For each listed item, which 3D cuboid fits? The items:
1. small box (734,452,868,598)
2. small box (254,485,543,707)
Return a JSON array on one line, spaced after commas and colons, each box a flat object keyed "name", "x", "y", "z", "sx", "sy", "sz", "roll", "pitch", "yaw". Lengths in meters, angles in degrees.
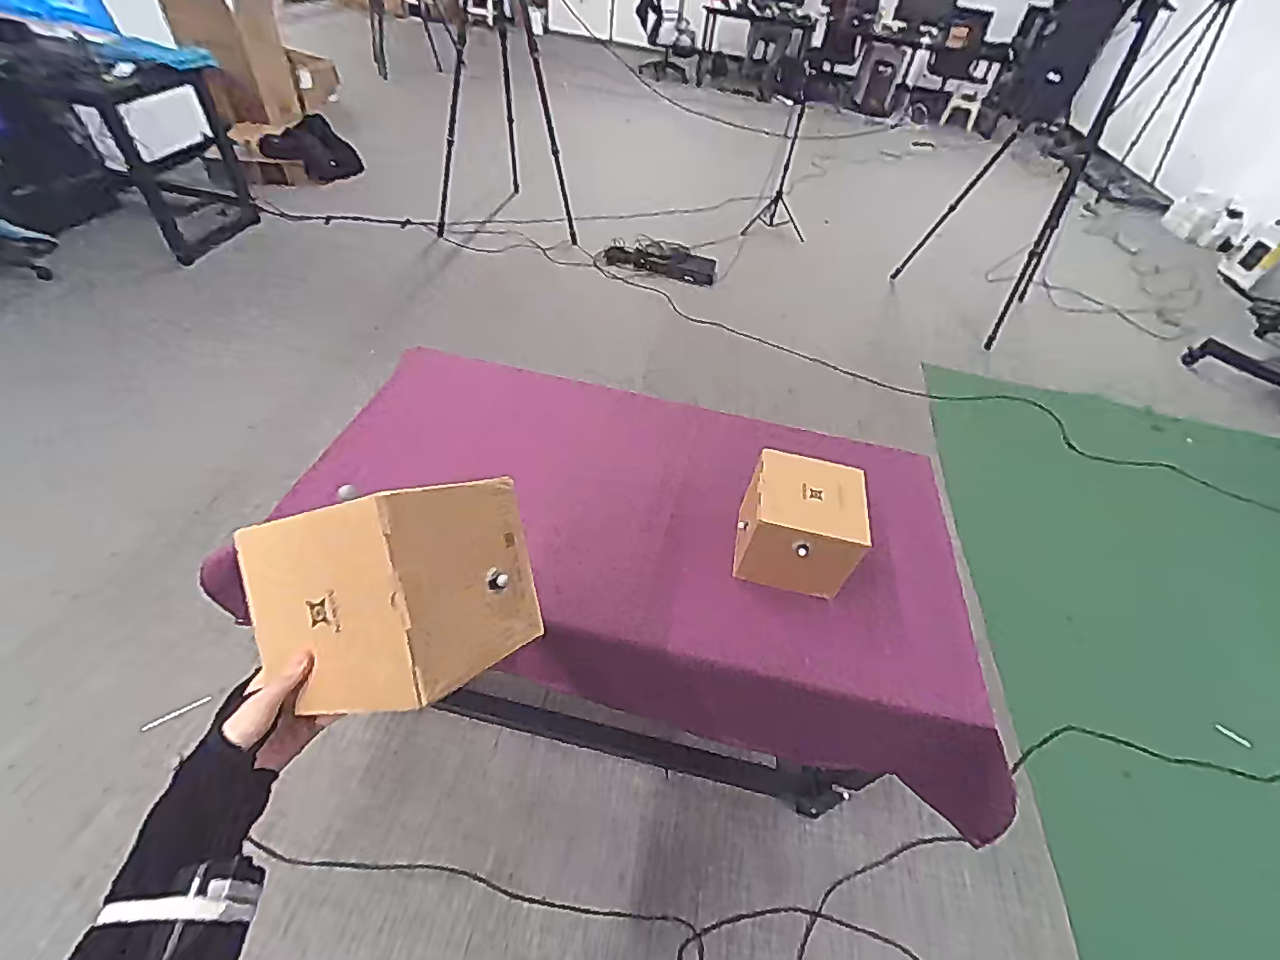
[{"name": "small box", "x": 0.268, "y": 0.081, "z": 0.930, "sx": 0.179, "sy": 0.176, "sz": 0.168, "roll": 14, "pitch": 48, "yaw": 4}, {"name": "small box", "x": -0.221, "y": 0.102, "z": 0.520, "sx": 0.179, "sy": 0.168, "sz": 0.176, "roll": -12, "pitch": -2, "yaw": 21}]
